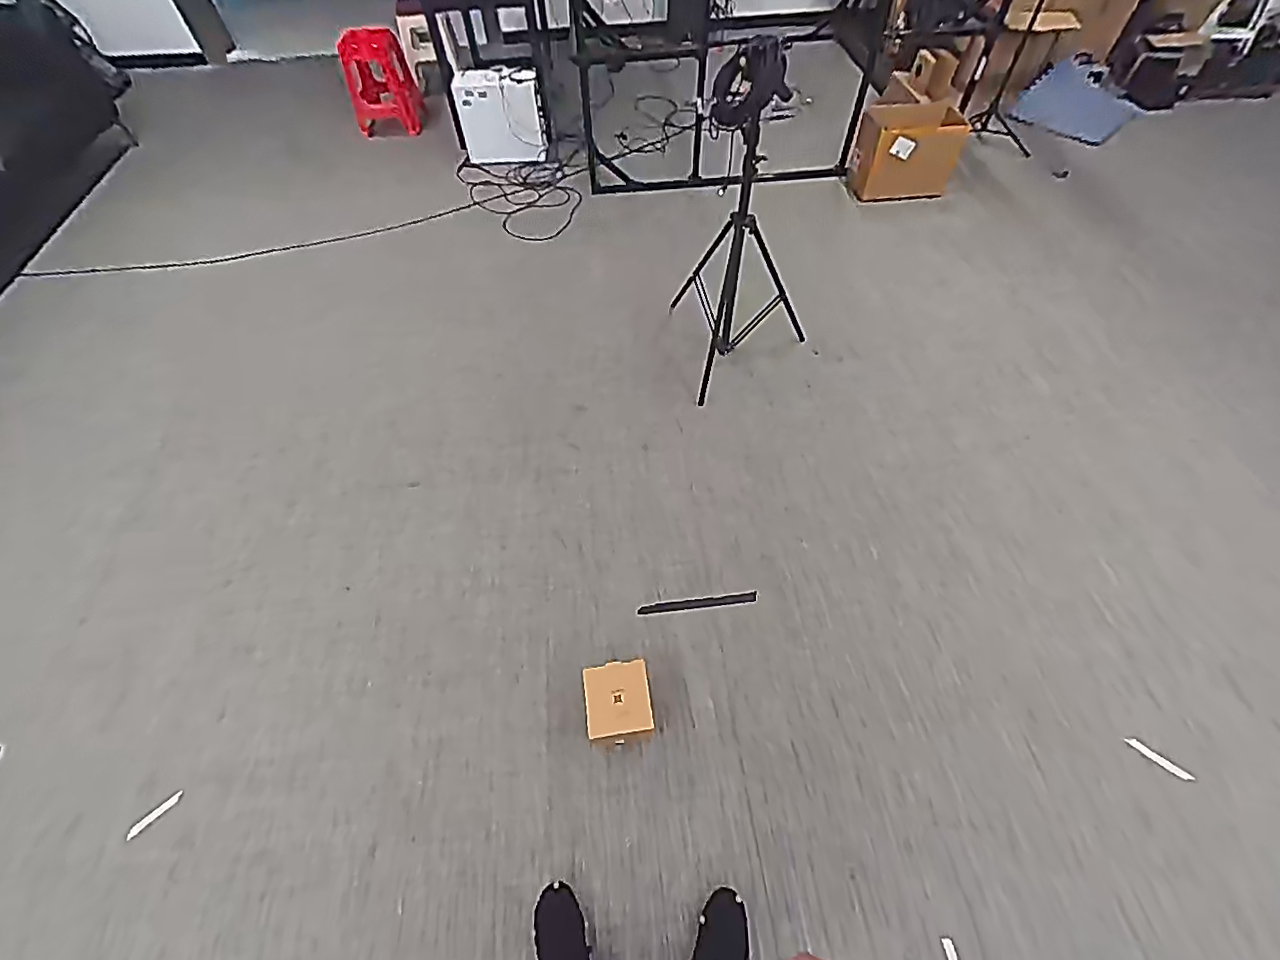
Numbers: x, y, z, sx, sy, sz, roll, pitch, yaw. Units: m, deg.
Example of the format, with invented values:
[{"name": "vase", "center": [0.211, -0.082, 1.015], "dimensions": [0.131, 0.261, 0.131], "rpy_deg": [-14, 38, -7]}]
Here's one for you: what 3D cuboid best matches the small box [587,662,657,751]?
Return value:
[{"name": "small box", "center": [-0.048, 0.605, 1.437], "dimensions": [0.168, 0.176, 0.179], "rpy_deg": [-8, 56, -3]}]
